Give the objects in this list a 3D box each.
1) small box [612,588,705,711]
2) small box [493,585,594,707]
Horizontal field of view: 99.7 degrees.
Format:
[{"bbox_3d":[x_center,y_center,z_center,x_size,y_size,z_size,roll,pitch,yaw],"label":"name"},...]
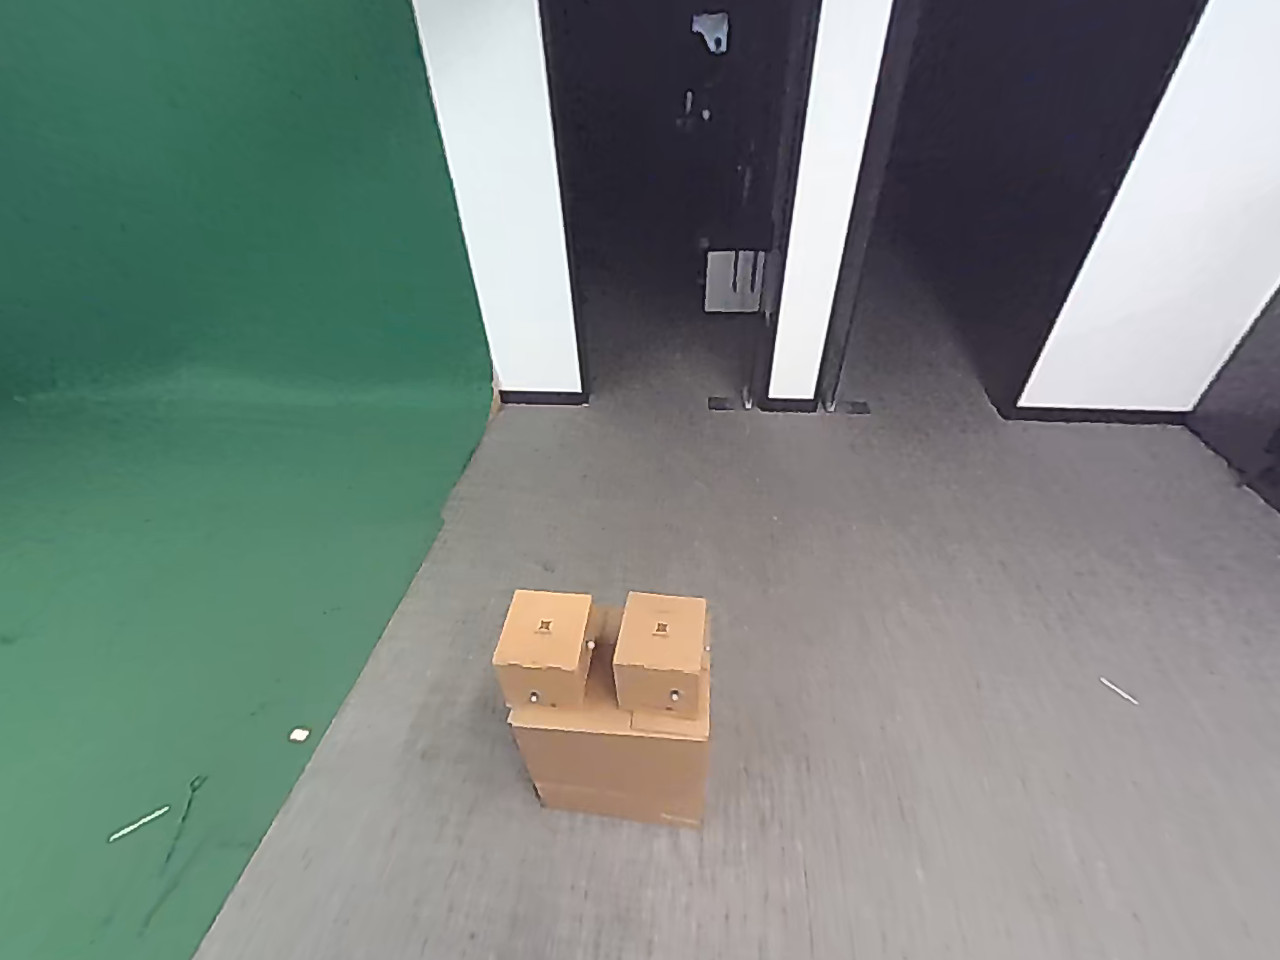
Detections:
[{"bbox_3d":[0.046,0.349,1.113,0.168,0.176,0.179,4,39,9],"label":"small box"},{"bbox_3d":[-0.191,0.346,1.131,0.168,0.176,0.179,3,42,5],"label":"small box"}]
